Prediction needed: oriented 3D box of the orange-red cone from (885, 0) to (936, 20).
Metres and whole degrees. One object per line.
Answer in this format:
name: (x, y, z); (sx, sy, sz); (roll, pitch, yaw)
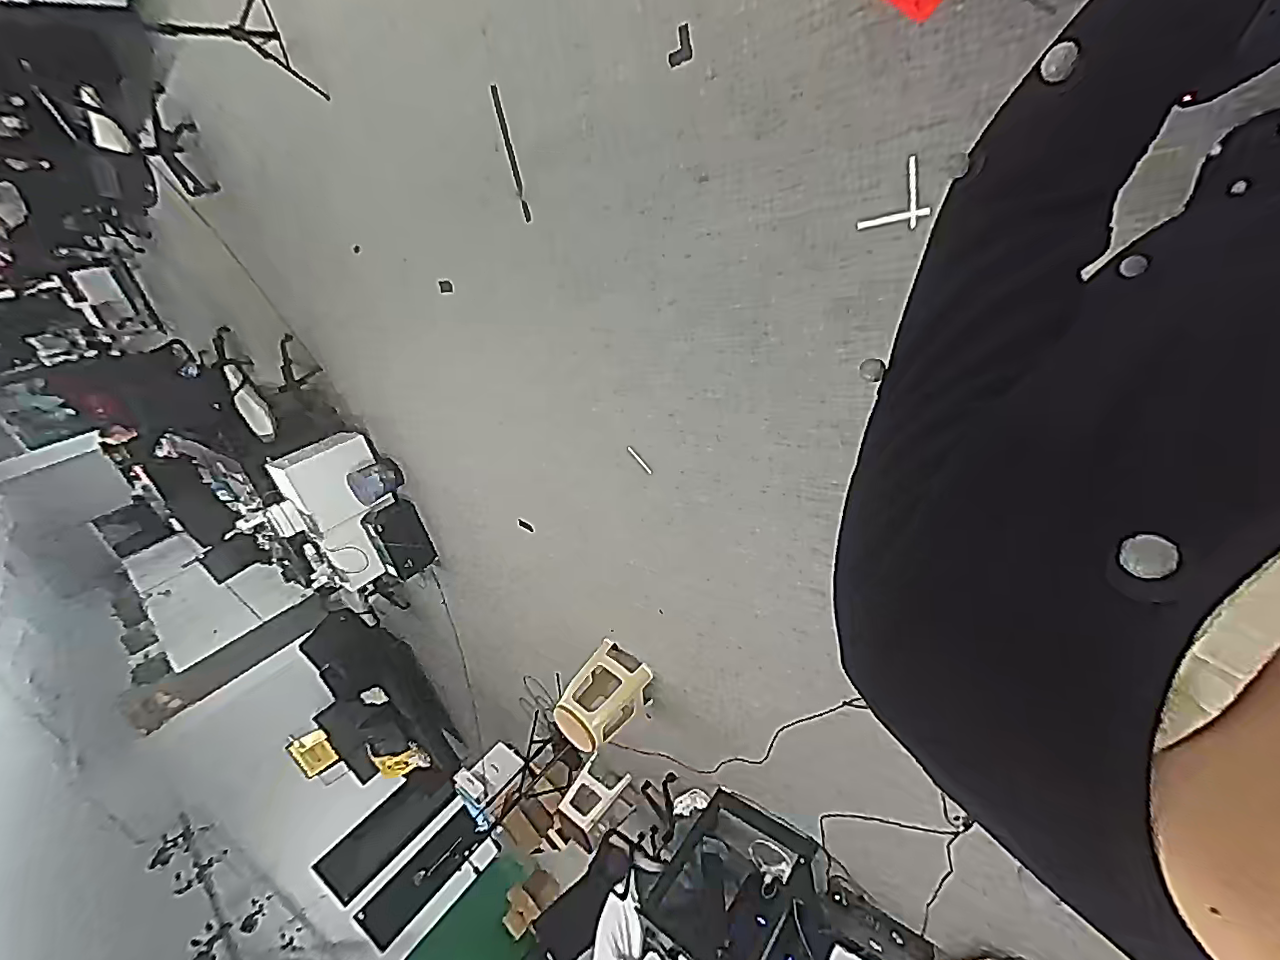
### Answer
orange-red cone: (0.384, -0.882, 0.833); (0.198, 0.360, 0.199); (45, 139, 9)
